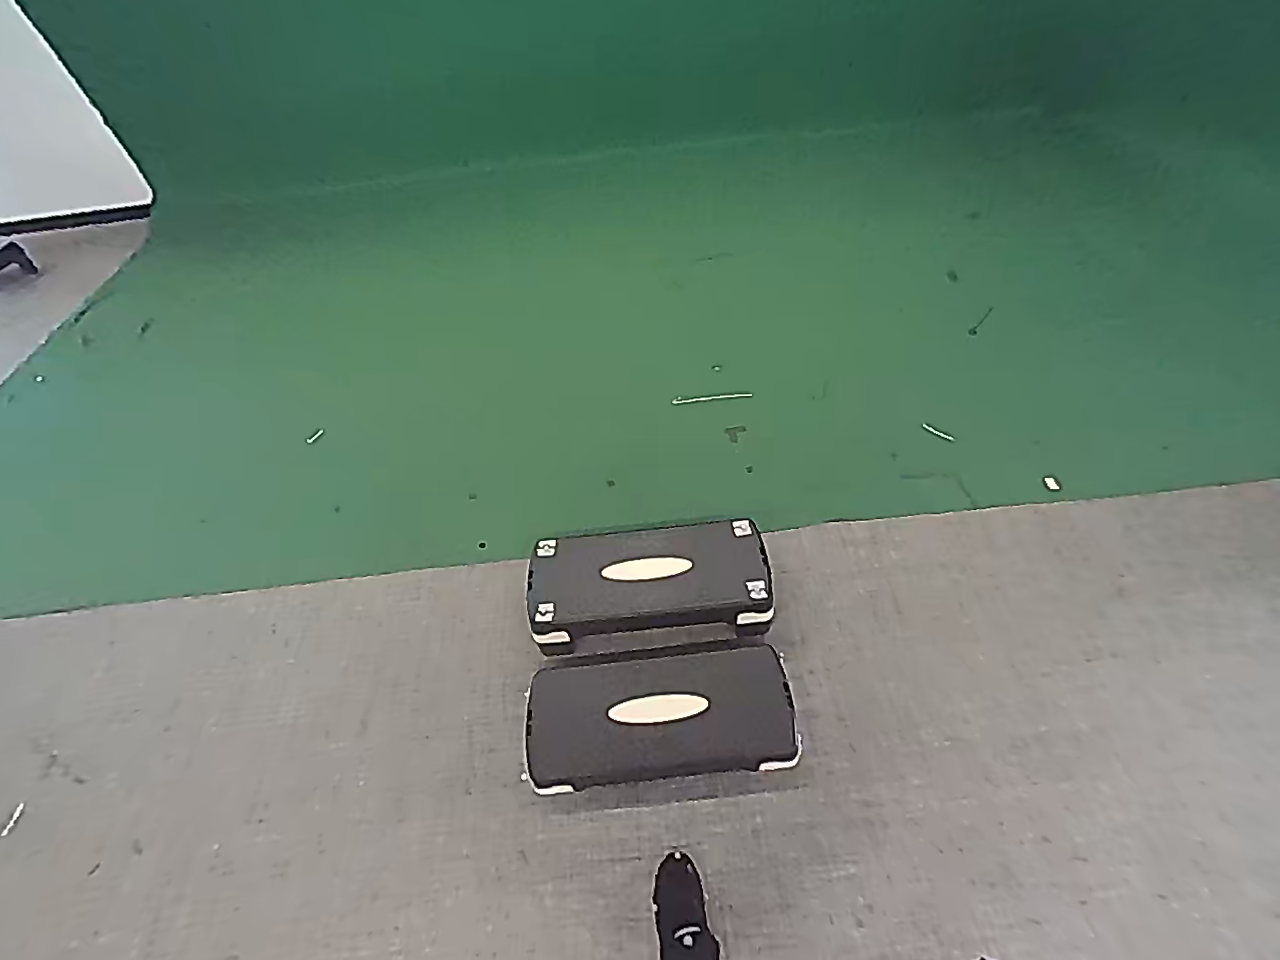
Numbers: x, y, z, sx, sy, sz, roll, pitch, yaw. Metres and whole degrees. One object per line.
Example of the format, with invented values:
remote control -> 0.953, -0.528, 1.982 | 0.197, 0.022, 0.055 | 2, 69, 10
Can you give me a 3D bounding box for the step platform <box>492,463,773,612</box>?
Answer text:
step platform -> -0.017, 0.150, 1.399 | 0.684, 0.204, 0.286 | -7, 51, 1
